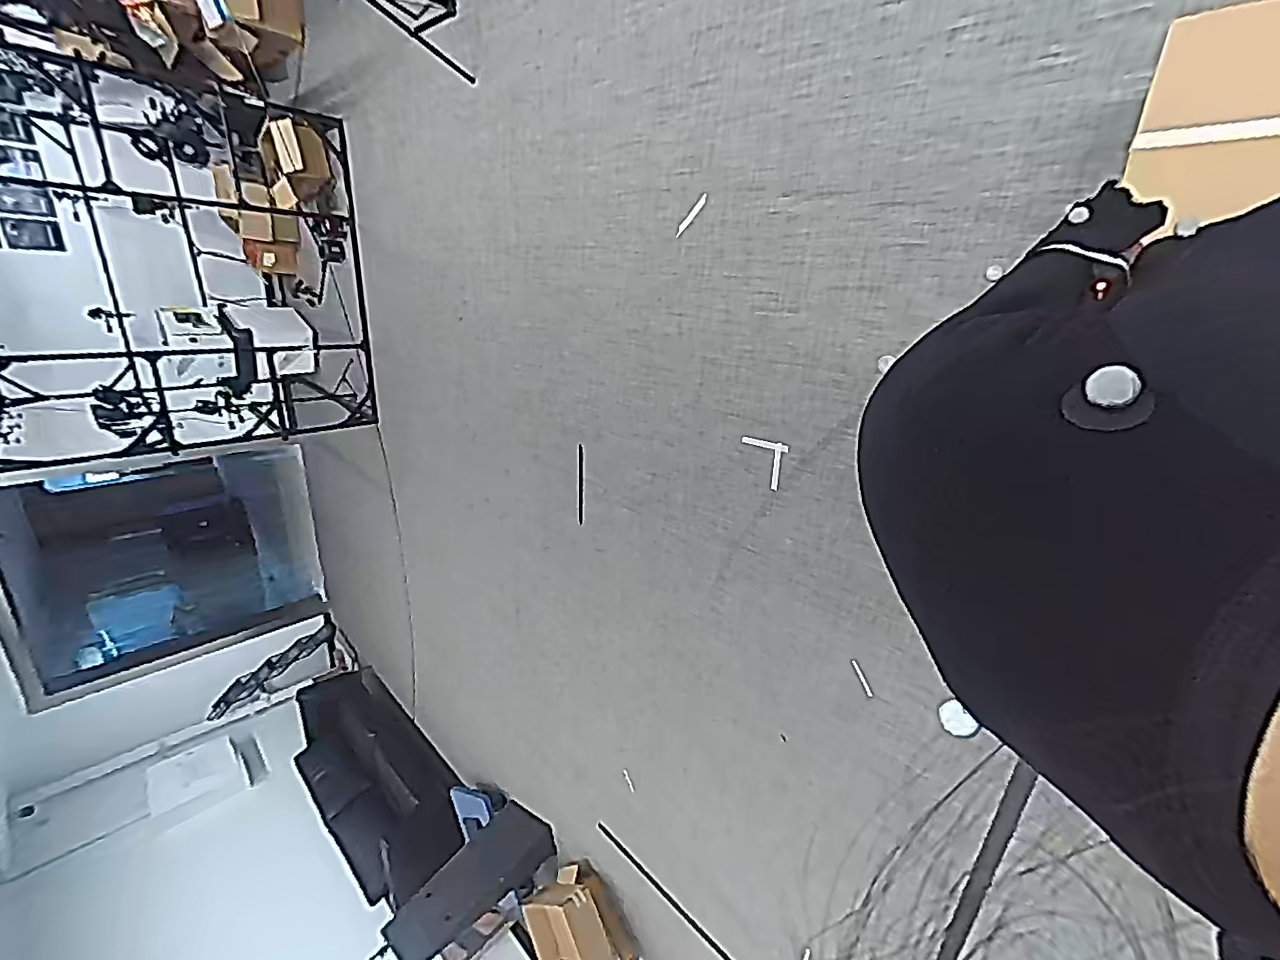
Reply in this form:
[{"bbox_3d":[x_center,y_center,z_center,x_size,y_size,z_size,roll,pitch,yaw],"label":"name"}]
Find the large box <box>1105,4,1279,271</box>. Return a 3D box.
[{"bbox_3d":[1.013,-0.494,0.815,0.408,0.320,0.320,21,116,41],"label":"large box"}]
